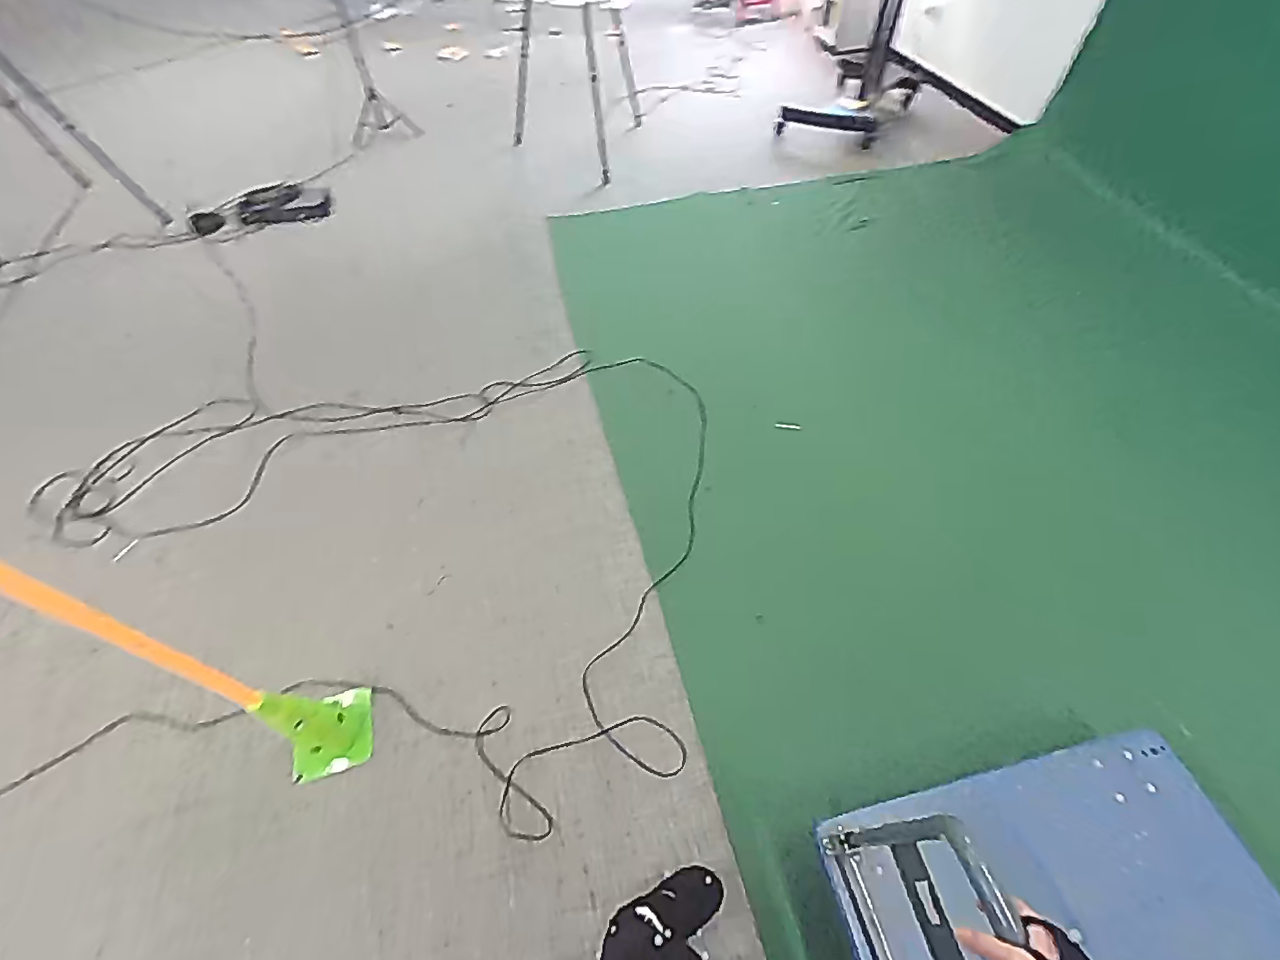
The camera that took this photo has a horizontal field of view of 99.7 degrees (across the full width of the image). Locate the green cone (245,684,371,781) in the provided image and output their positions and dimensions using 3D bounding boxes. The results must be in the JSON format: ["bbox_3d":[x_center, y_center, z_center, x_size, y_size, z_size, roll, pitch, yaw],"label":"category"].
[{"bbox_3d":[-0.839,0.581,1.330,0.200,0.368,0.202,-16,54,-10],"label":"green cone"}]
